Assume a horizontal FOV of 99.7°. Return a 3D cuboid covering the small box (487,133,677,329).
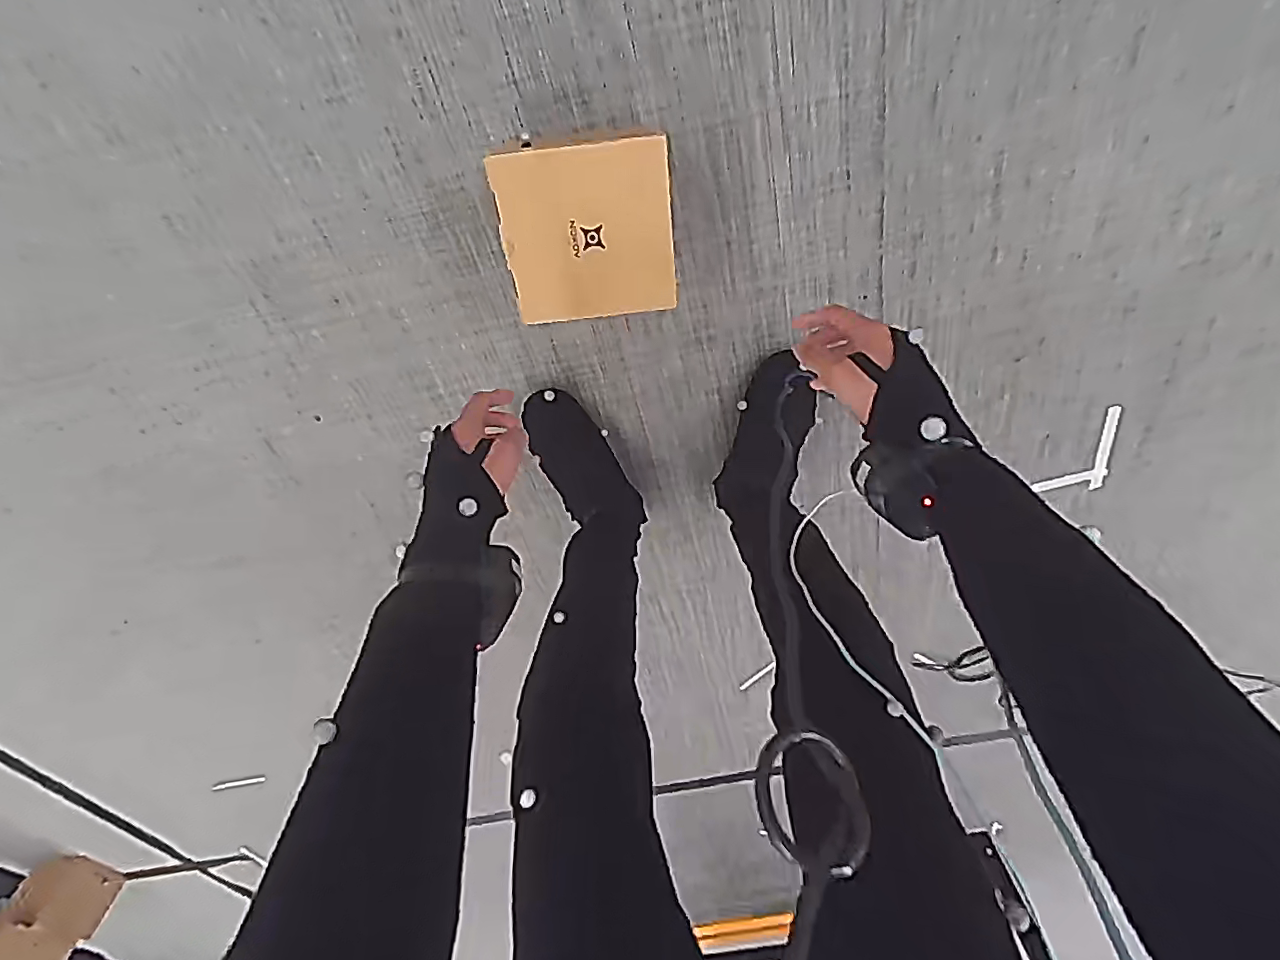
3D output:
[{"bbox_3d":[-0.056,-0.289,0.618,0.179,0.176,0.168,-6,126,2],"label":"small box"}]
